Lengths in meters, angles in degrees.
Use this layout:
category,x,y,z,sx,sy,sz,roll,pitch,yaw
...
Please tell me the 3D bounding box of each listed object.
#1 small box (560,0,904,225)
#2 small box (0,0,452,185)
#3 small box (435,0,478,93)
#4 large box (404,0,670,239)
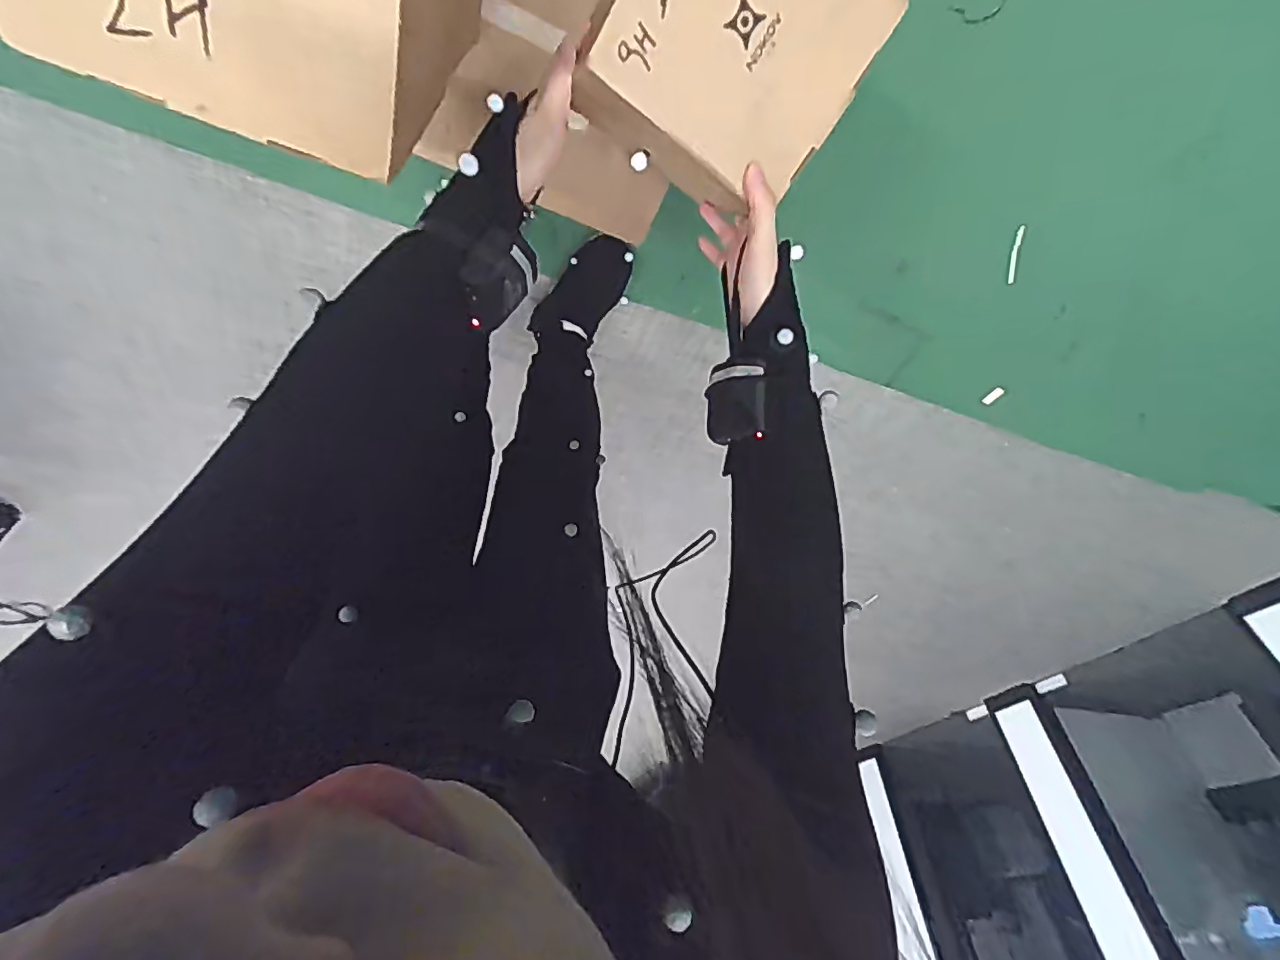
category,x,y,z,sx,sy,sz,roll,pitch,yaw
small box,0.056,-0.338,0.431,0.179,0.176,0.168,26,110,-27
small box,-0.185,-0.289,0.259,0.168,0.176,0.179,14,135,-19
small box,-0.192,-0.416,0.366,0.168,0.176,0.179,14,135,-20
large box,-0.124,-0.542,0.594,0.408,0.320,0.320,14,137,-19
